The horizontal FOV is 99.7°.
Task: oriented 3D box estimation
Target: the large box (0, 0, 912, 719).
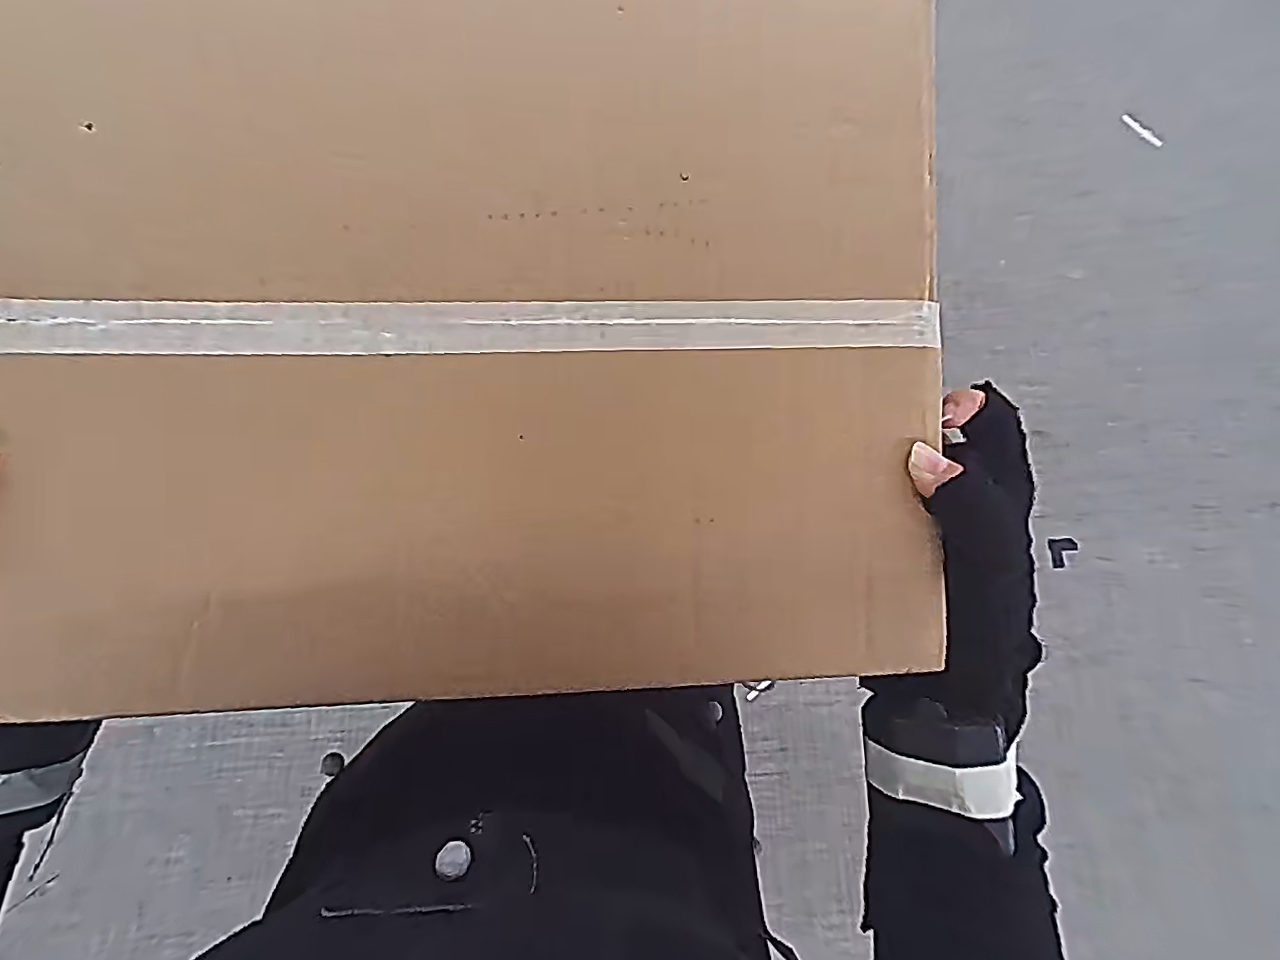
[{"bbox_3d":[-0.082,-0.062,0.389,0.408,0.320,0.320,-1,90,-5],"label":"large box"}]
